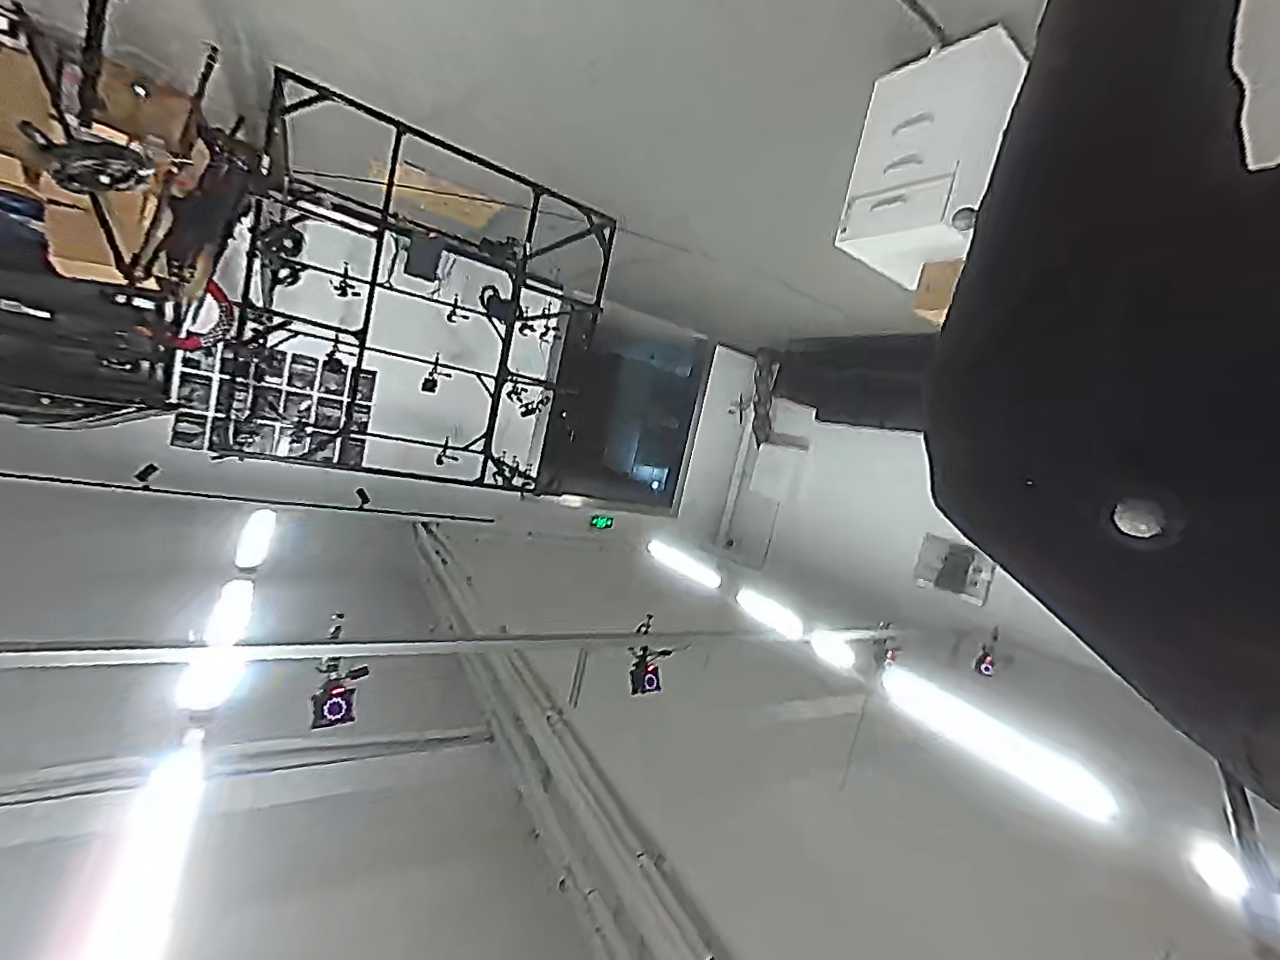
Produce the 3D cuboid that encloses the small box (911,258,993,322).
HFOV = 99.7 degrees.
[{"bbox_3d":[1.088,-0.658,1.886,0.168,0.176,0.179,7,-171,-36],"label":"small box"}]
